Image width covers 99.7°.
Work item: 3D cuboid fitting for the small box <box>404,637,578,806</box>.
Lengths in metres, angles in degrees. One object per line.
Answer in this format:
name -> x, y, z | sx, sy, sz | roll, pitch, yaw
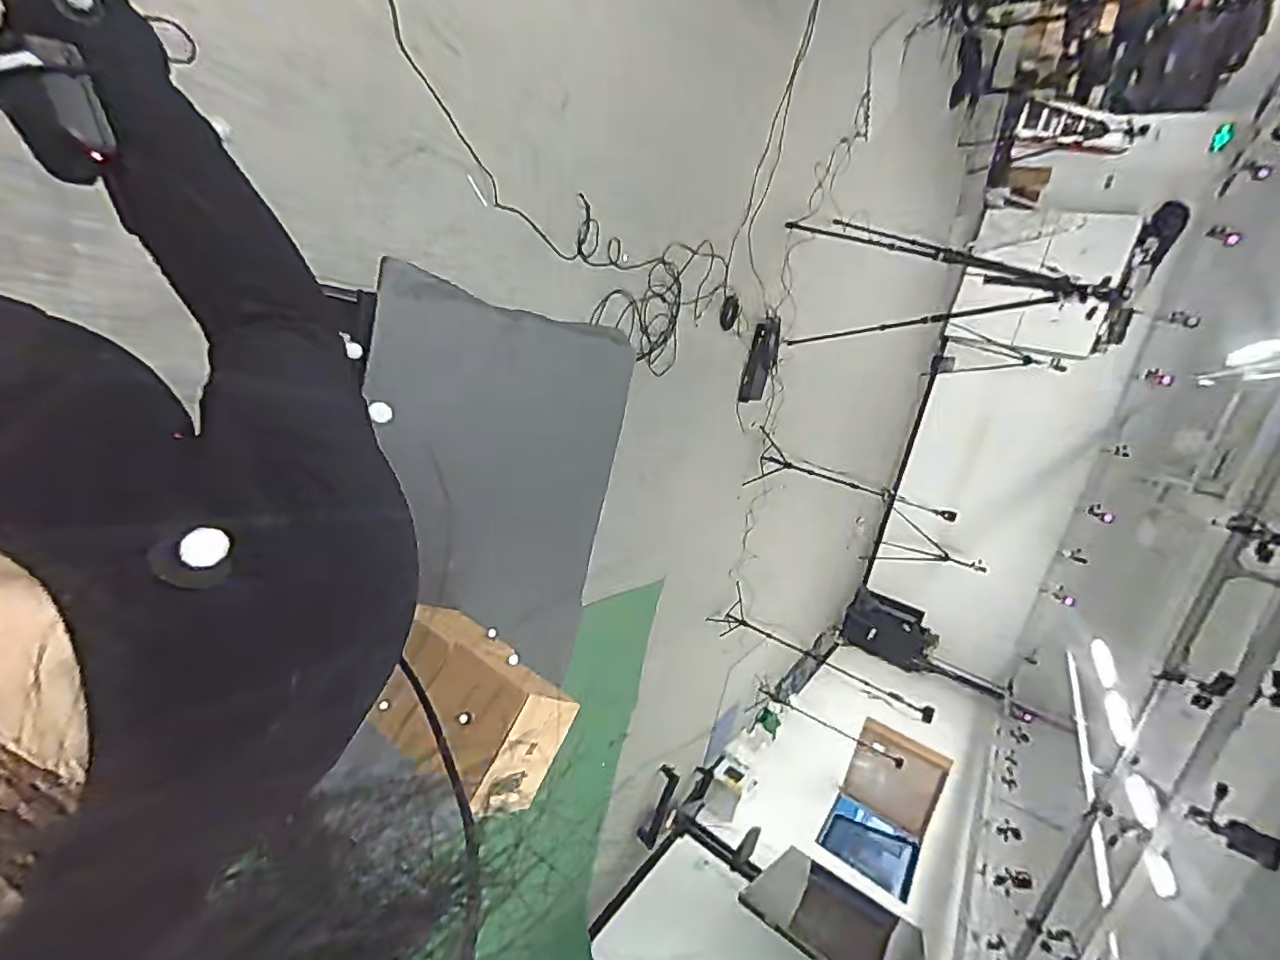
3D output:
small box -> -0.236, 0.376, 0.850 | 0.179, 0.176, 0.168 | -61, 148, -15
